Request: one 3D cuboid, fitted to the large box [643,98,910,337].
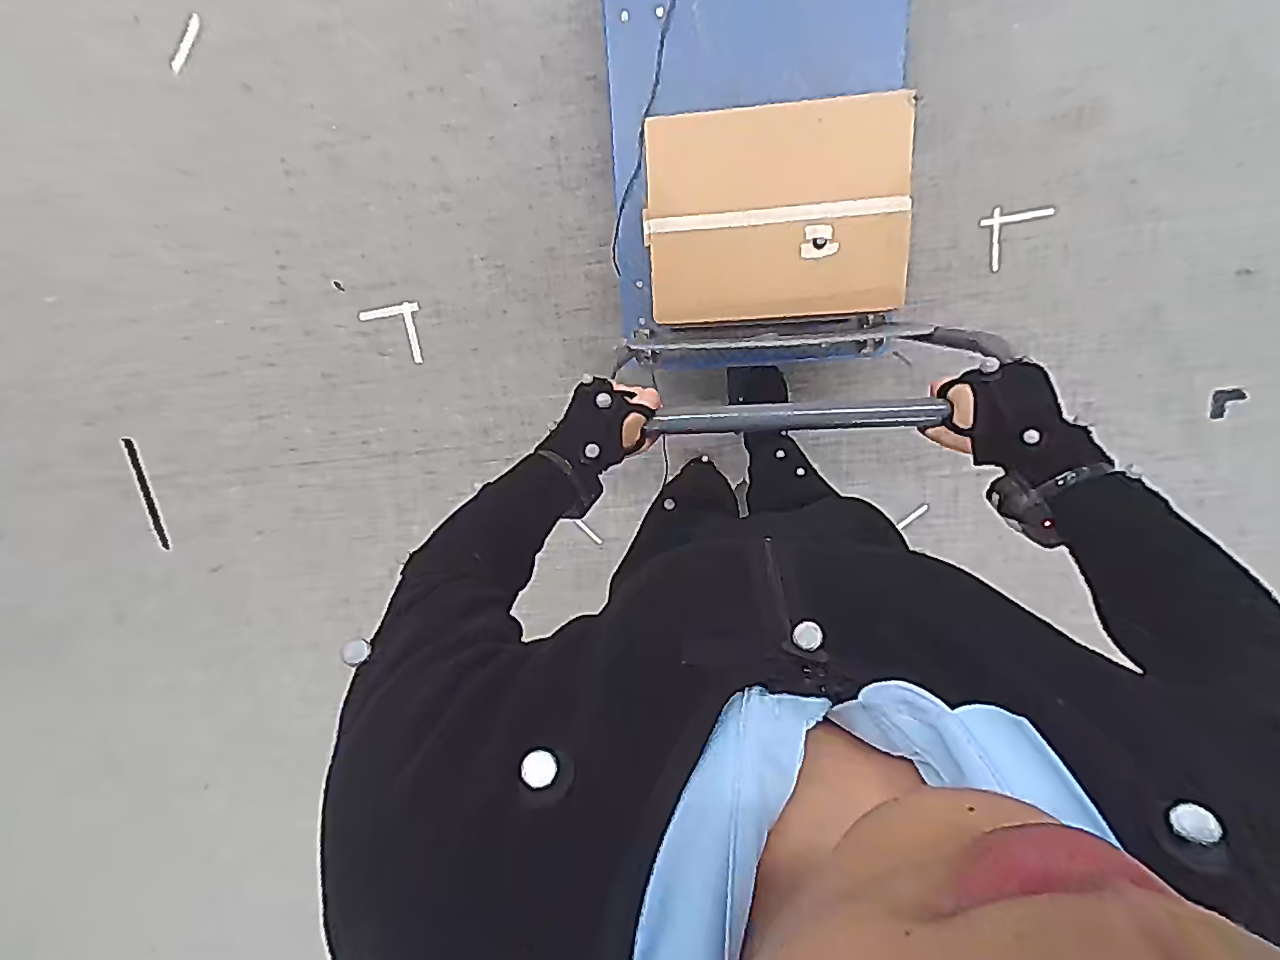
[{"bbox_3d":[0.225,-0.440,0.995,0.408,0.320,0.320,-2,105,6],"label":"large box"}]
